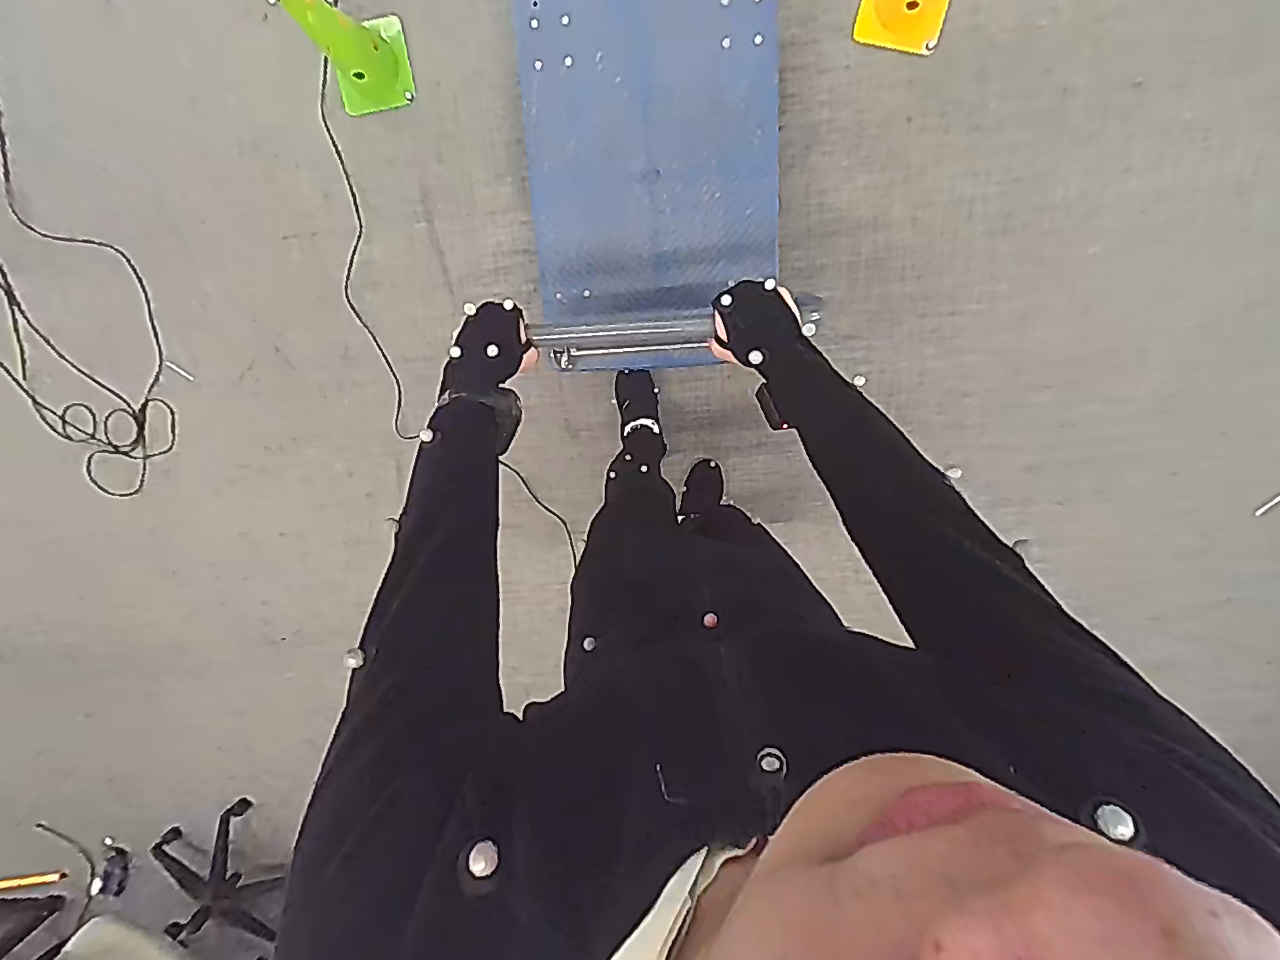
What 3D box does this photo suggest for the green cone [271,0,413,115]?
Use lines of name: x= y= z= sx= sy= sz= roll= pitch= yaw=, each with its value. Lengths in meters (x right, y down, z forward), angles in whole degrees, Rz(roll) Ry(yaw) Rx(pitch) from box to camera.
green cone: x=-0.714 y=-1.030 z=1.226 sx=0.202 sy=0.368 sz=0.200 roll=-7 pitch=102 yaw=8
